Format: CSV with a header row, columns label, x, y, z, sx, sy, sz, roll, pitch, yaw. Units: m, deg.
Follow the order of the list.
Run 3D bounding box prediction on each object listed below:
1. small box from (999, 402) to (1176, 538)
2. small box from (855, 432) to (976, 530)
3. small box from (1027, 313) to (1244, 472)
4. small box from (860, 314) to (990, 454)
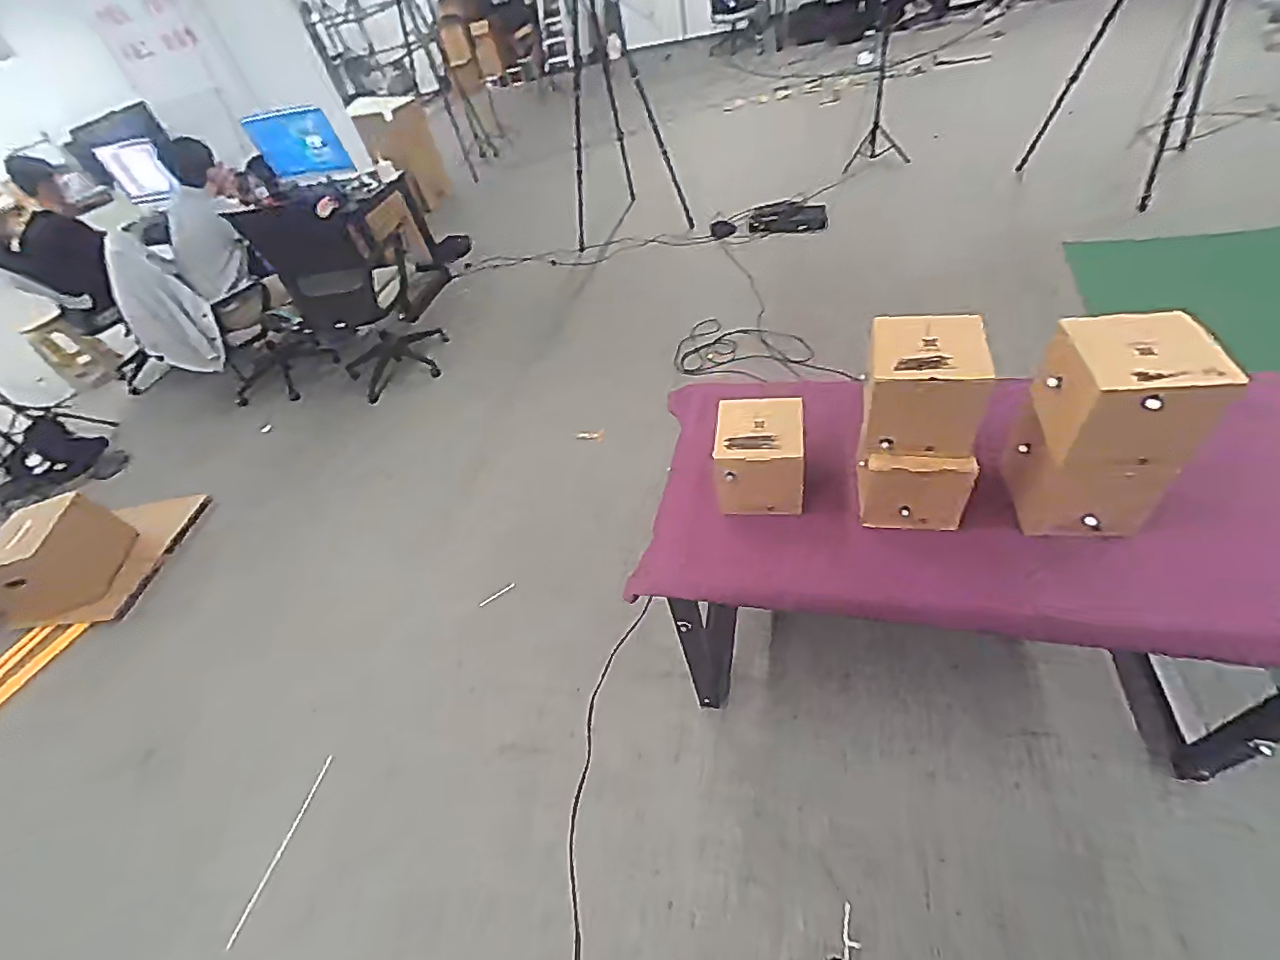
label,x,y,z,sx,sy,sz,roll,pitch,yaw
small box,0.759,-0.020,0.945,0.168,0.176,0.179,0,48,15
small box,0.505,-0.028,1.021,0.168,0.176,0.179,1,49,15
small box,0.729,-0.131,0.827,0.168,0.176,0.179,-1,47,15
small box,0.475,-0.161,0.924,0.168,0.176,0.179,4,49,18
